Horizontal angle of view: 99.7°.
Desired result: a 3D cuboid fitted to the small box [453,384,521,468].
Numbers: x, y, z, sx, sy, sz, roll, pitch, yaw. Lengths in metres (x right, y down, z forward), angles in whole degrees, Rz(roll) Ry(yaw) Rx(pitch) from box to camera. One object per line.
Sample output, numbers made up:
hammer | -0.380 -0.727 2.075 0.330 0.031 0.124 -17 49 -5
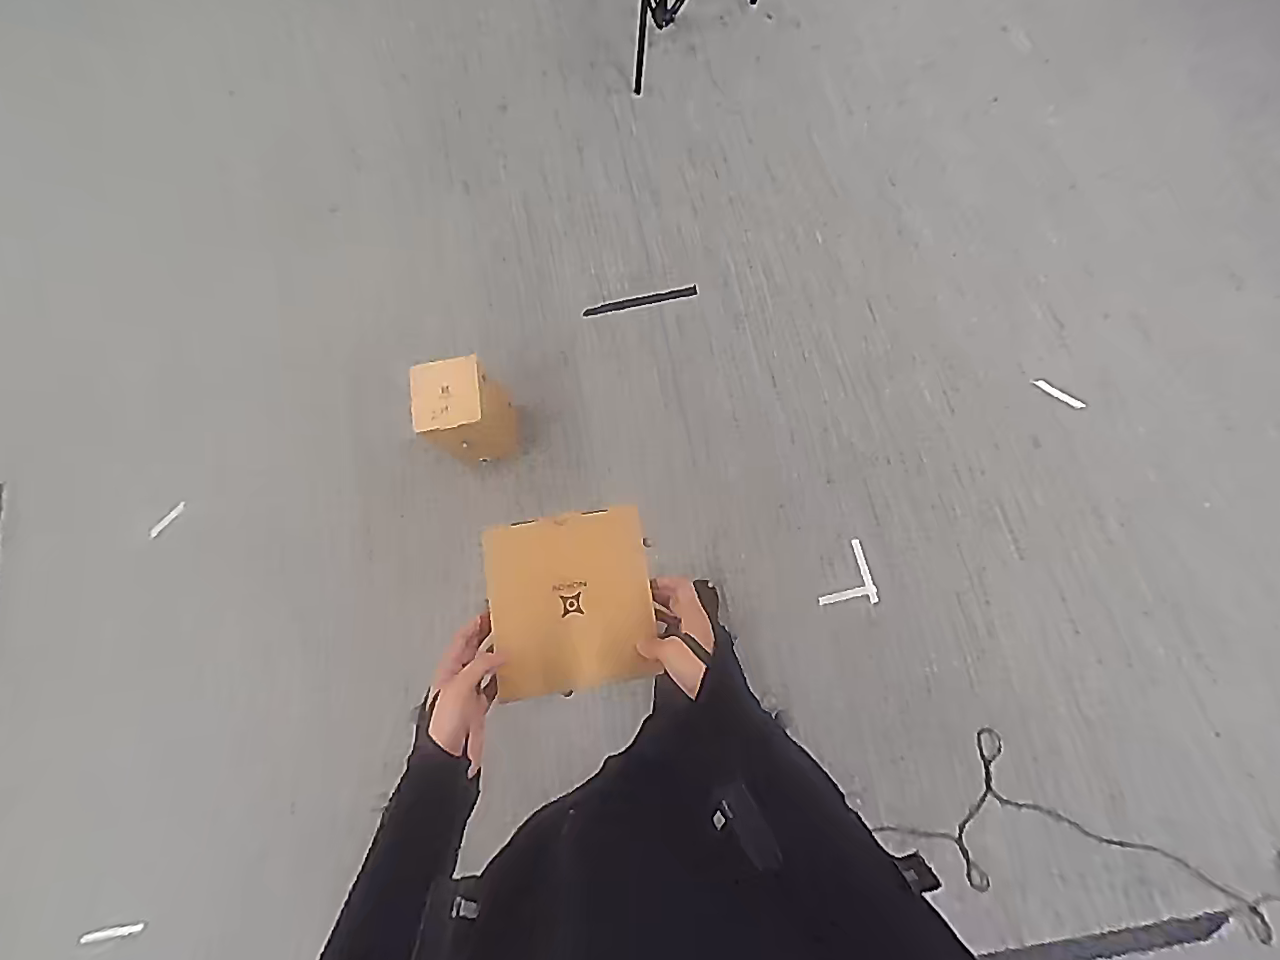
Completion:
small box | -0.440 -0.148 1.520 0.168 0.176 0.179 -9 75 1

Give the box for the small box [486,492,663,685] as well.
small box | -0.072 0.122 0.625 0.168 0.176 0.179 -8 77 -6

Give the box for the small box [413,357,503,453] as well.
small box | -0.454 -0.185 1.361 0.168 0.176 0.179 -9 76 1
